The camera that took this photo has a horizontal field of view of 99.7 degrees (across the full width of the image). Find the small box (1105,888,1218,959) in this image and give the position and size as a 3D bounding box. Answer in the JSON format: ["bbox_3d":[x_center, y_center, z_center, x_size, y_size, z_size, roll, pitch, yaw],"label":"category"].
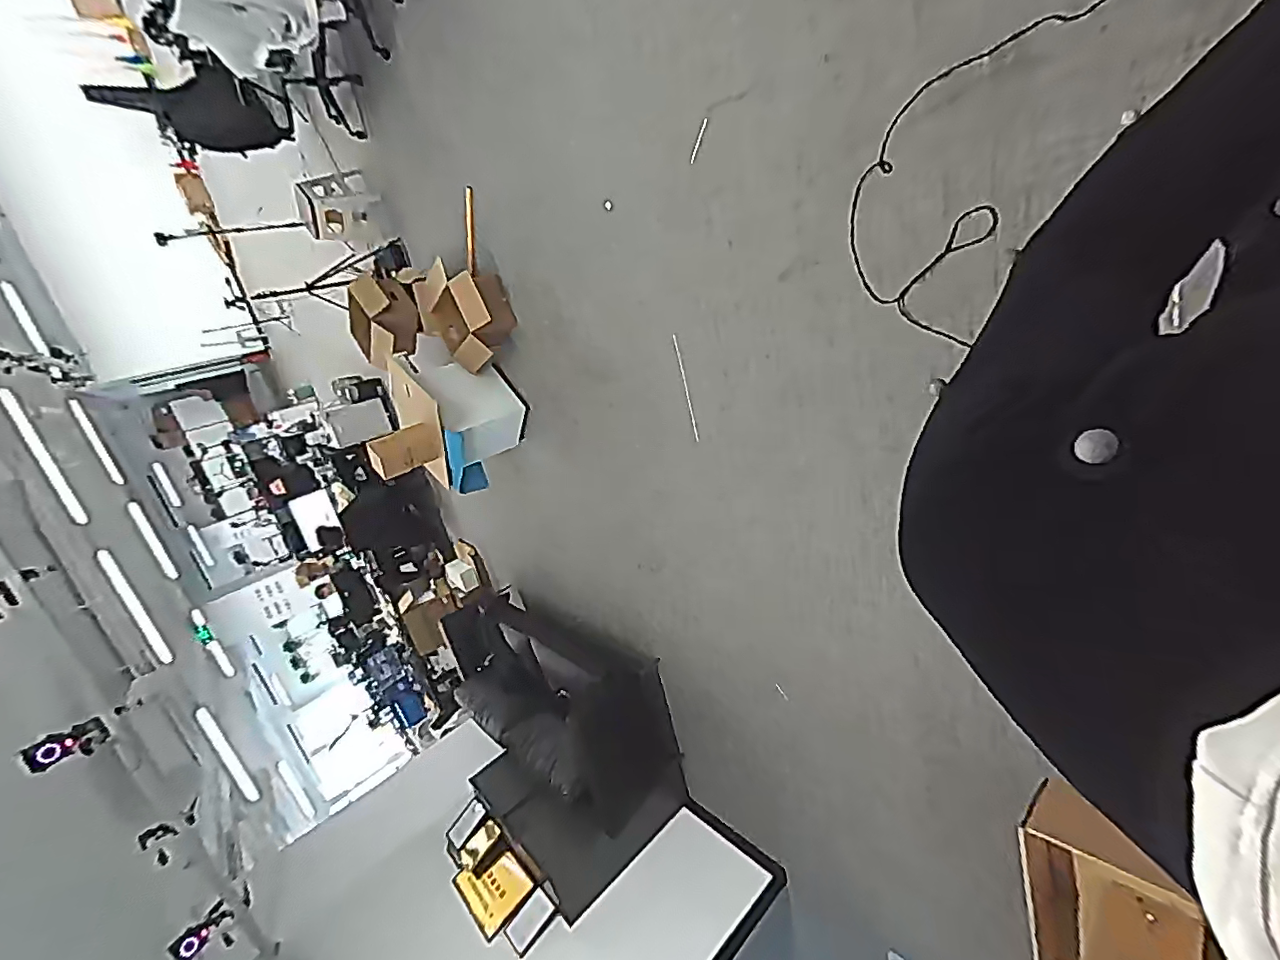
[{"bbox_3d":[1.169,1.084,1.211,0.168,0.176,0.179,3,116,50],"label":"small box"}]
